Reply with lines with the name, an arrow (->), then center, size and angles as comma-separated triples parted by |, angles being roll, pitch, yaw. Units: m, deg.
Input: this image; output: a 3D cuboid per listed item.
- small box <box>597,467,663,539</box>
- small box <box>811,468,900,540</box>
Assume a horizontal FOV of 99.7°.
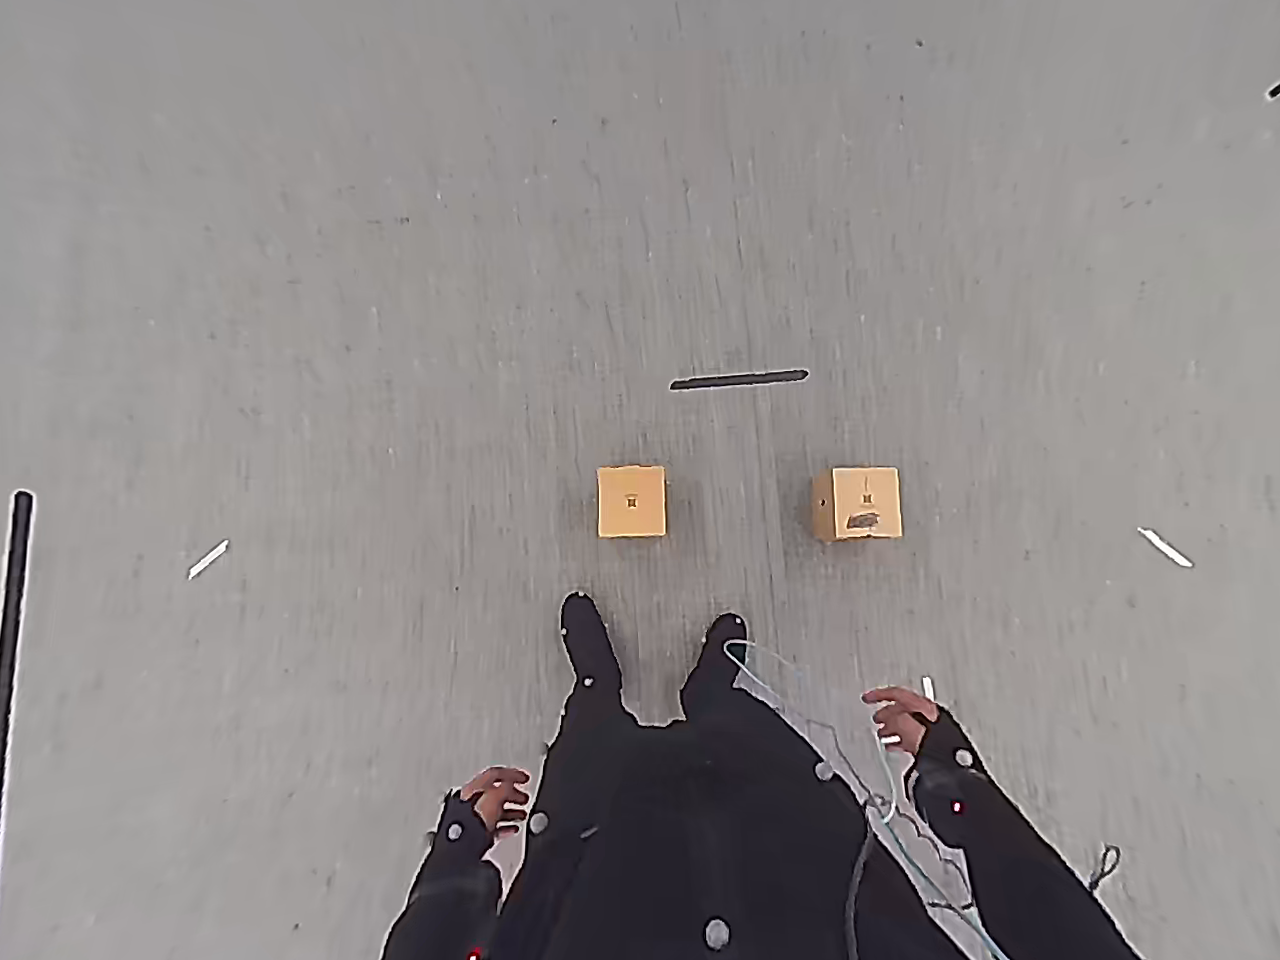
small box -> -0.023, 0.065, 1.407 | 0.168, 0.176, 0.179 | -2, 81, 1
small box -> 0.551, 0.068, 1.402 | 0.168, 0.176, 0.179 | 0, 81, -1
